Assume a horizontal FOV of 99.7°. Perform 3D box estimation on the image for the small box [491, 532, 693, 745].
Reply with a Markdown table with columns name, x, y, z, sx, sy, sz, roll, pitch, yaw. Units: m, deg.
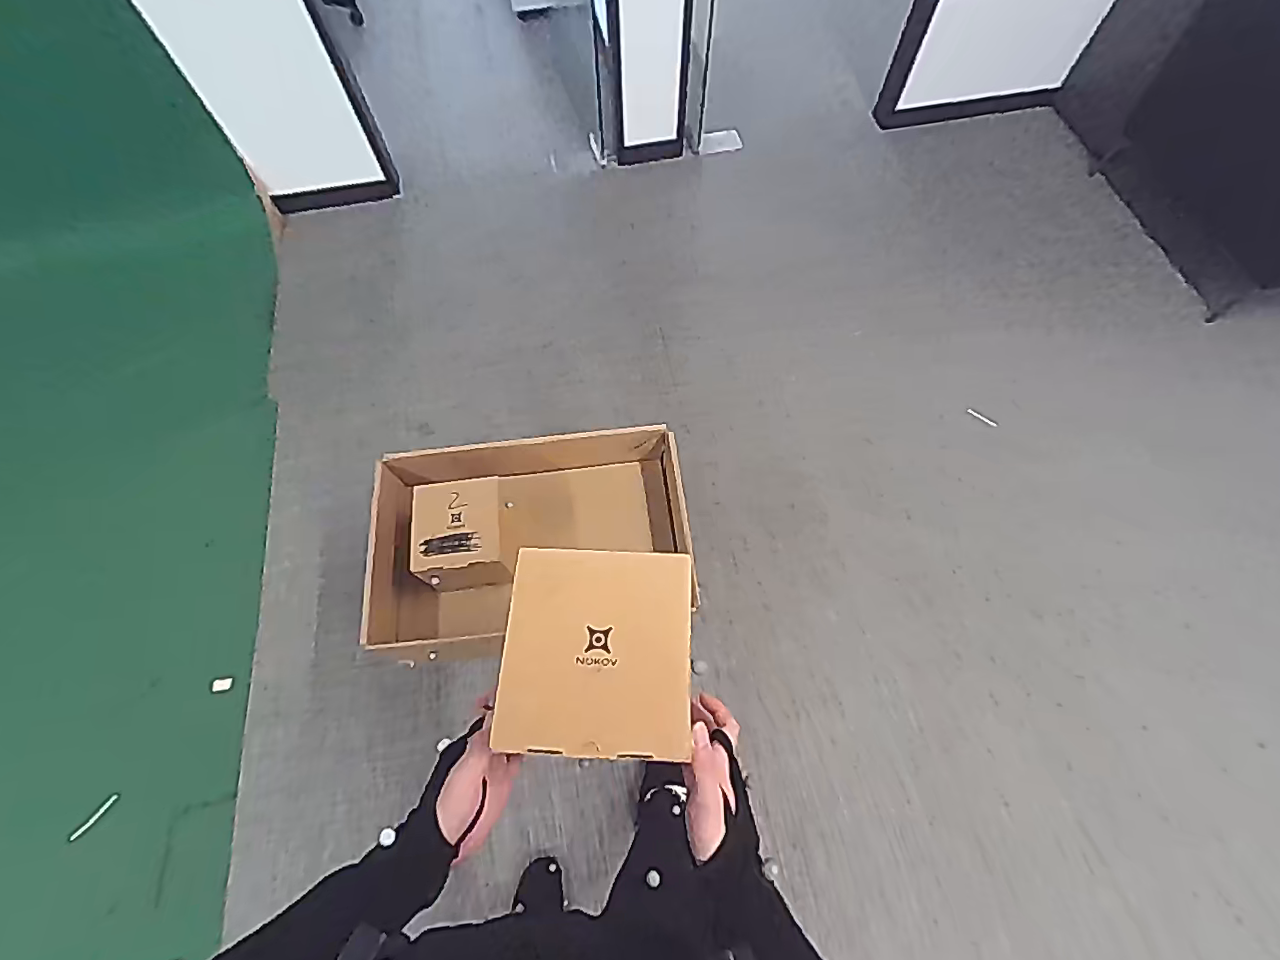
| name | x | y | z | sx | sy | sz | roll | pitch | yaw |
| --- | --- | --- | --- | --- | --- | --- | --- | --- | --- |
| small box | -0.037 | 0.165 | 0.541 | 0.168 | 0.176 | 0.179 | 2 | 65 | 1 |
